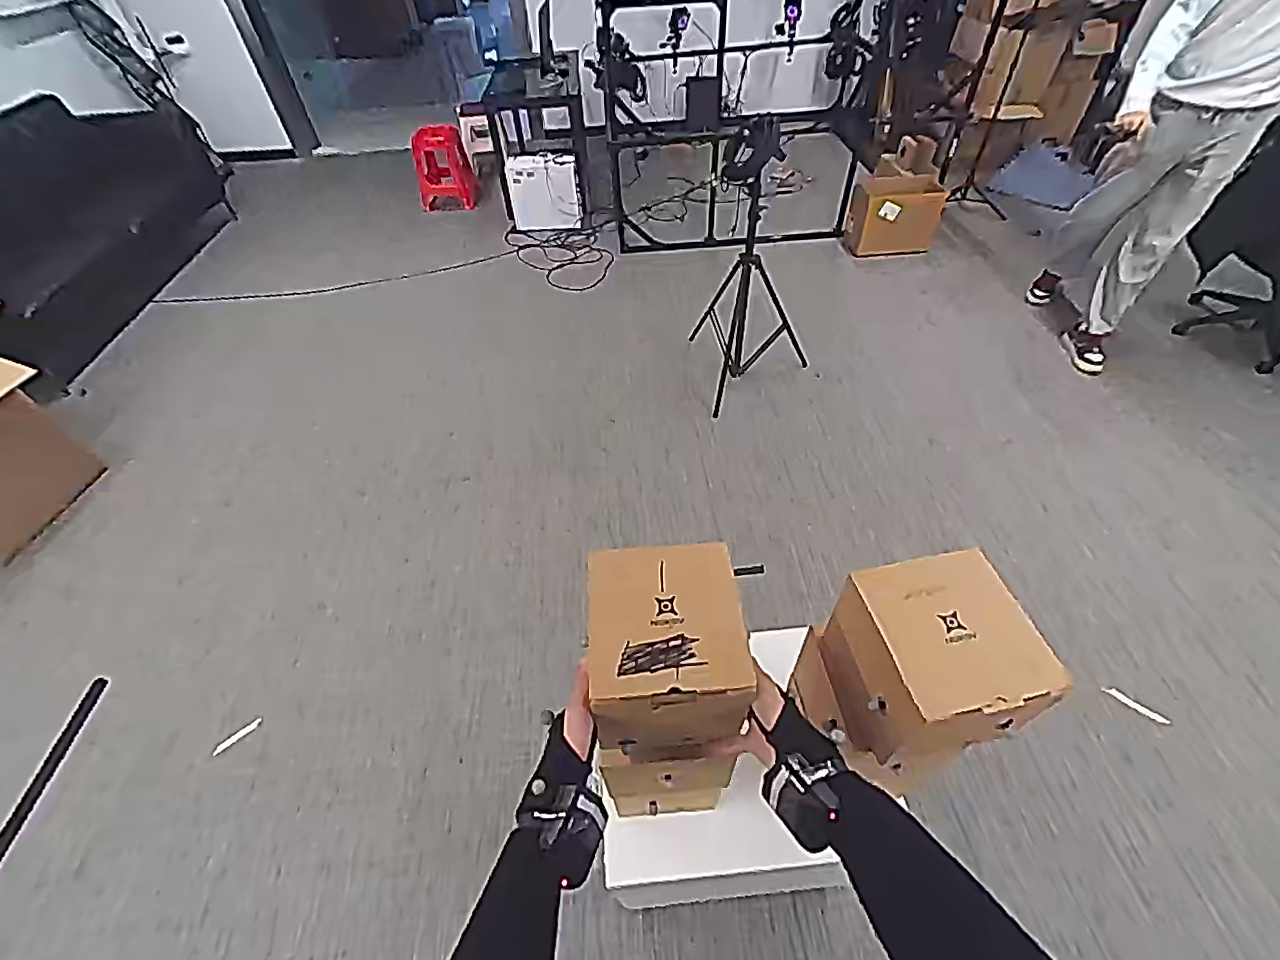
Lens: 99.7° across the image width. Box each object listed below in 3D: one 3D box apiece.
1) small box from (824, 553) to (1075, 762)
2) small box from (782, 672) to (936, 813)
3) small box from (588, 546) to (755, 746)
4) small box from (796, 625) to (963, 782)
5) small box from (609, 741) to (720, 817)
[{"bbox_3d":[0.343,0.216,0.643,0.168,0.176,0.179,-10,48,-6],"label":"small box"},{"bbox_3d":[0.345,0.426,0.896,0.168,0.176,0.179,-8,48,-2],"label":"small box"},{"bbox_3d":[0.029,0.199,0.633,0.168,0.176,0.179,-3,49,-2],"label":"small box"},{"bbox_3d":[0.336,0.317,0.773,0.168,0.176,0.179,-7,48,-1],"label":"small box"},{"bbox_3d":[0.037,0.447,0.900,0.168,0.176,0.179,-5,48,-1],"label":"small box"}]
